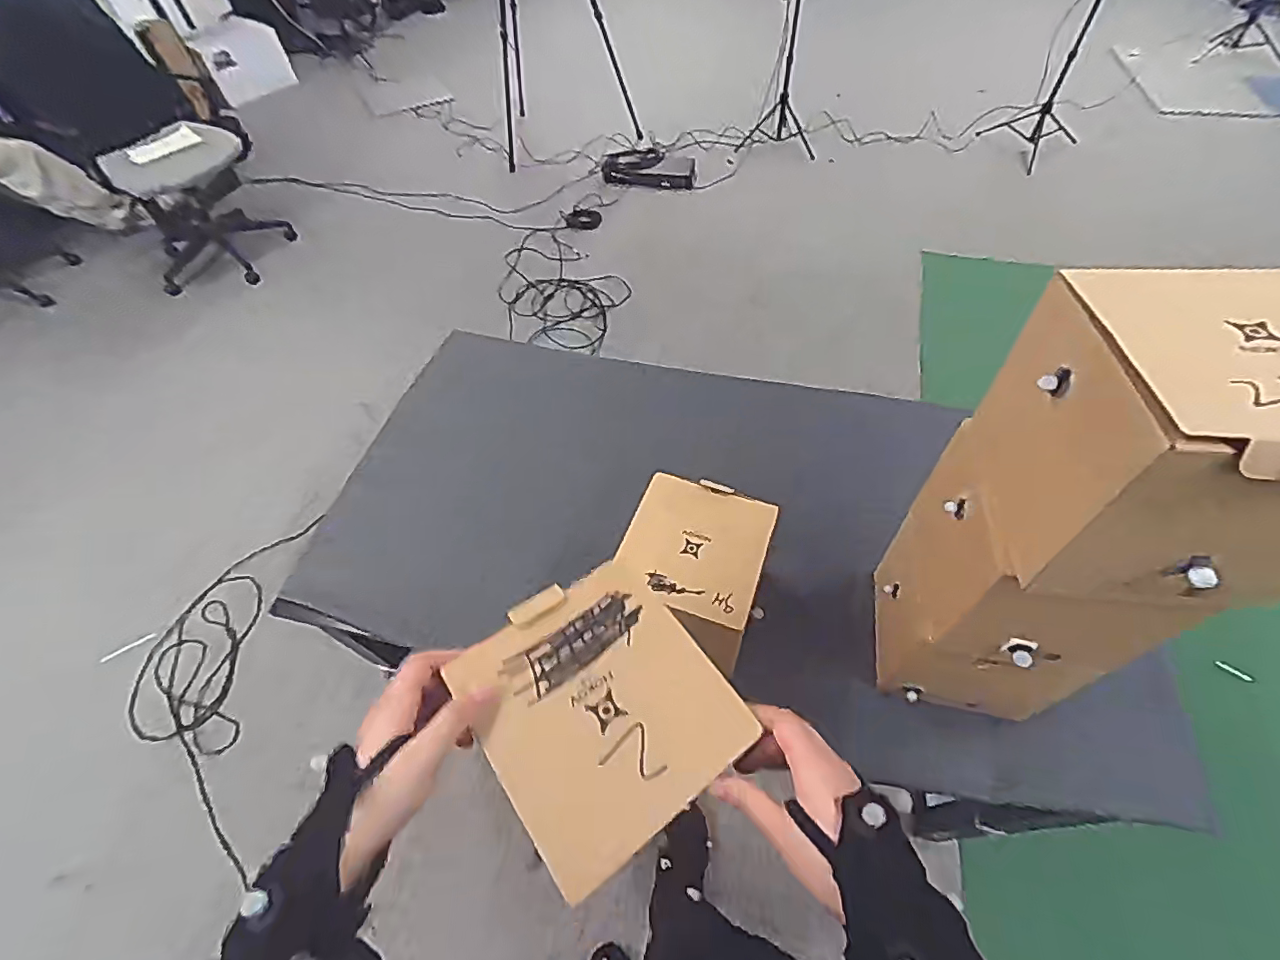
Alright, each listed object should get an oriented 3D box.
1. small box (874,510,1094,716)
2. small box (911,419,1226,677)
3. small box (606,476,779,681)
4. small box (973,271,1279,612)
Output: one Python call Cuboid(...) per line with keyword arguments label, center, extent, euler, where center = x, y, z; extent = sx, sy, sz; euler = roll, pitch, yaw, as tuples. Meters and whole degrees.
Cuboid(label="small box", center=(0.391, 0.164, 0.652), extent=(0.168, 0.176, 0.179), euler=(9, 52, 11))
Cuboid(label="small box", center=(0.379, 0.067, 0.522), extent=(0.168, 0.176, 0.179), euler=(6, 53, 10))
Cuboid(label="small box", center=(0.068, 0.129, 0.702), extent=(0.168, 0.176, 0.179), euler=(16, 54, 15))
Cuboid(label="small box", center=(0.371, -0.027, 0.386), extent=(0.168, 0.176, 0.179), euler=(2, 52, 8))
